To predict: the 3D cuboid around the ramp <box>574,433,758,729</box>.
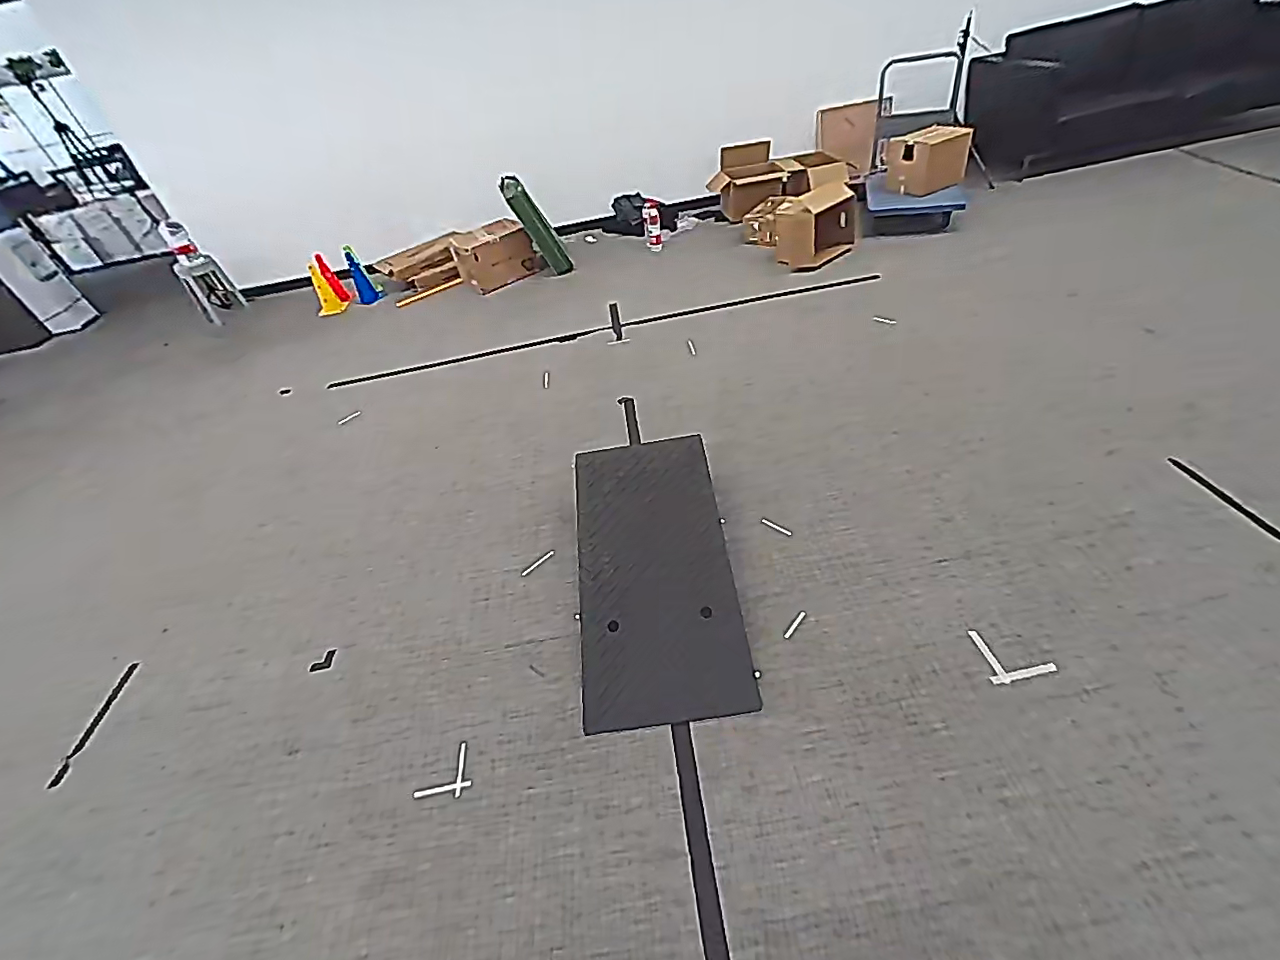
[{"bbox_3d":[0.037,0.254,1.771,0.509,0.206,0.991,-9,42,1],"label":"ramp"}]
